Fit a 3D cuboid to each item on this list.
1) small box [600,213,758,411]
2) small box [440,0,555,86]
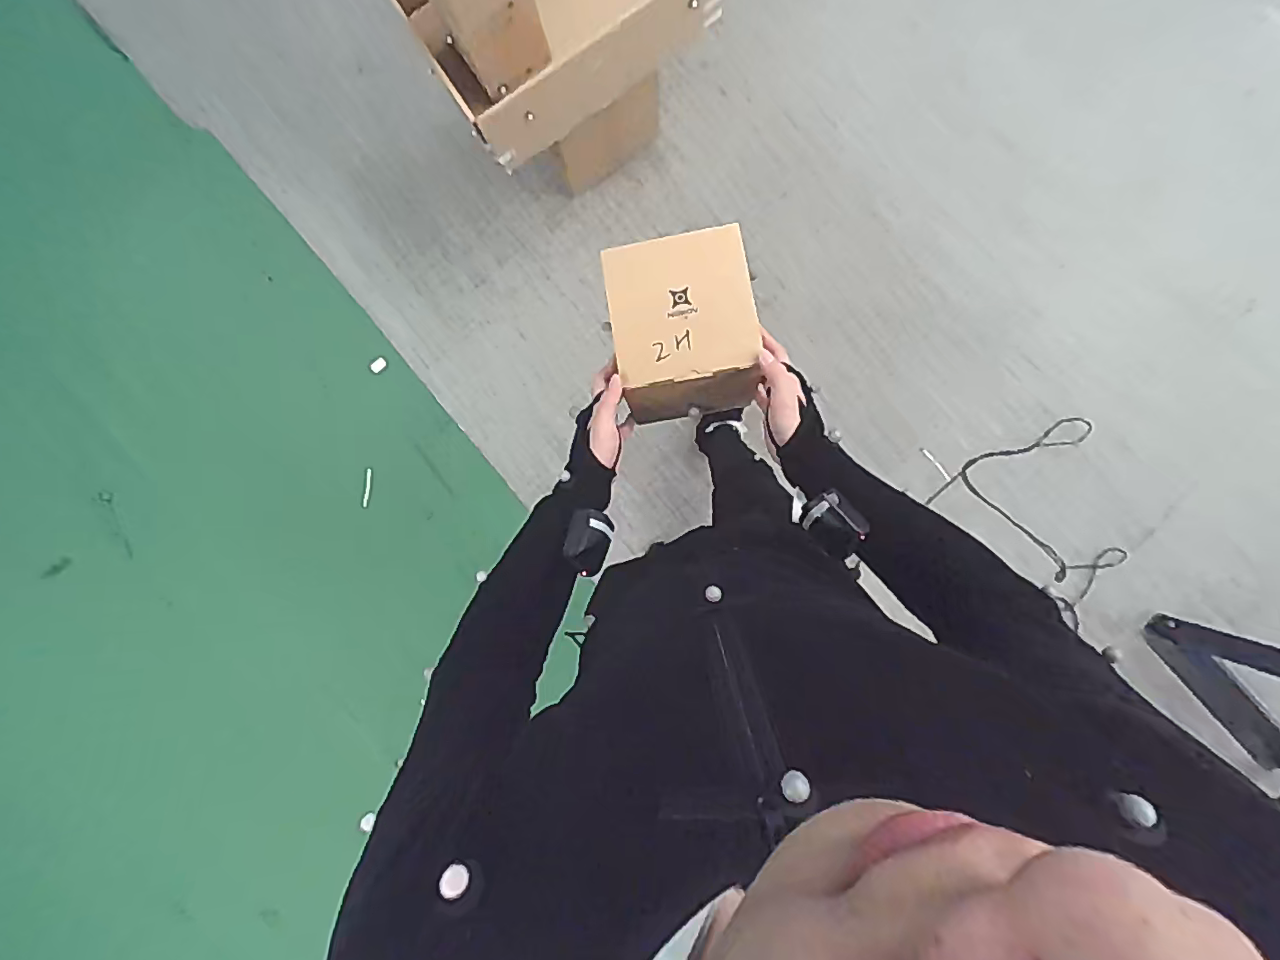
[{"bbox_3d":[0.051,-0.204,0.701,0.168,0.176,0.179,-9,81,6],"label":"small box"},{"bbox_3d":[-0.299,-0.968,1.118,0.168,0.176,0.179,-34,89,4],"label":"small box"}]
